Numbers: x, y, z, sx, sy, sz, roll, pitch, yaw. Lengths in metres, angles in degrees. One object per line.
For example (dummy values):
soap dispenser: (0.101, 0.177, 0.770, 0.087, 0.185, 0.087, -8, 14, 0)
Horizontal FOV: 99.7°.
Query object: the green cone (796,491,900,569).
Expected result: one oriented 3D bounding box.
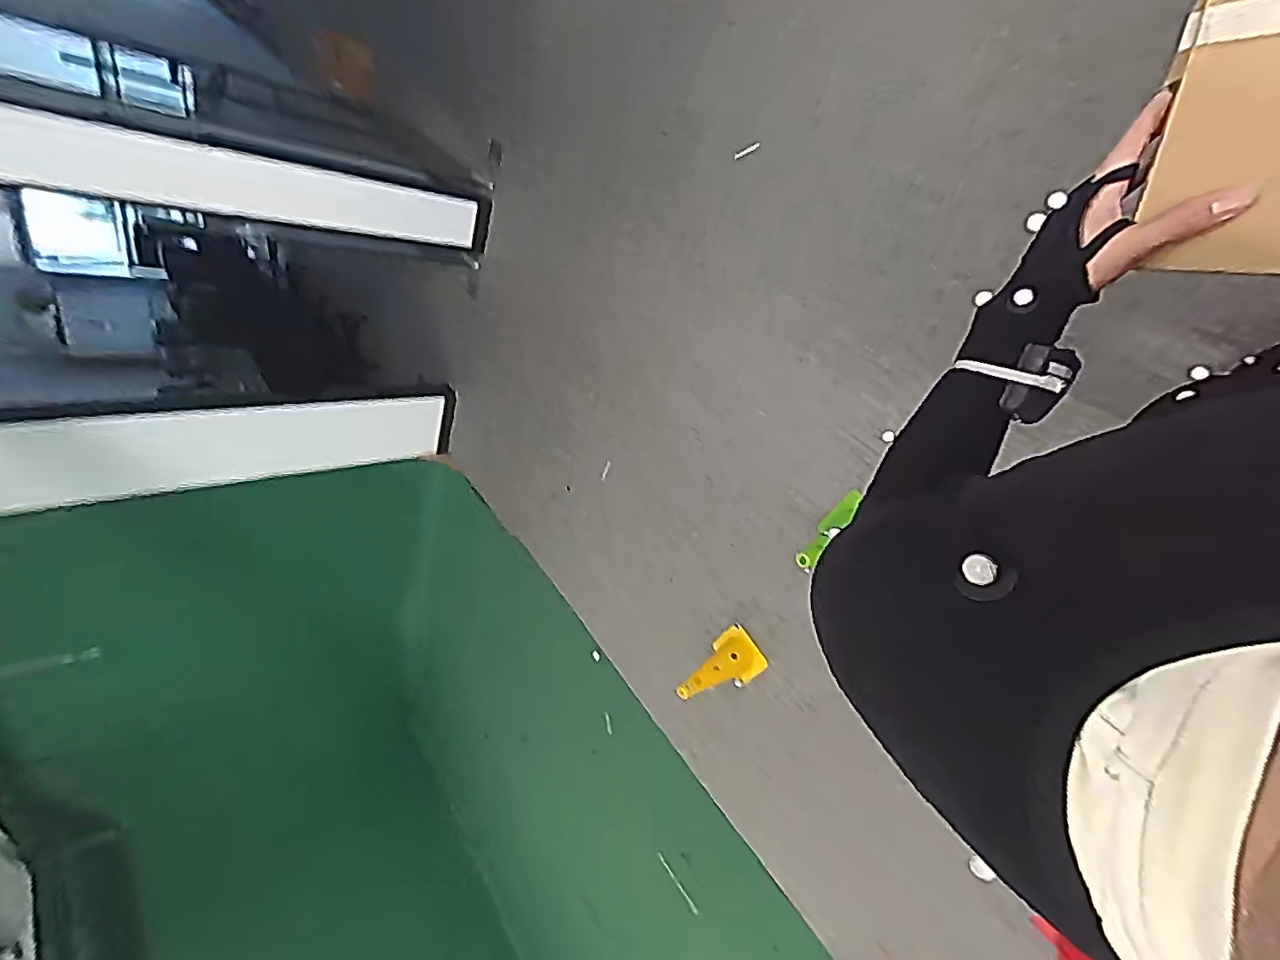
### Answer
green cone: (0.581, 0.192, 1.624, 0.200, 0.368, 0.202, 51, 132, 26)
